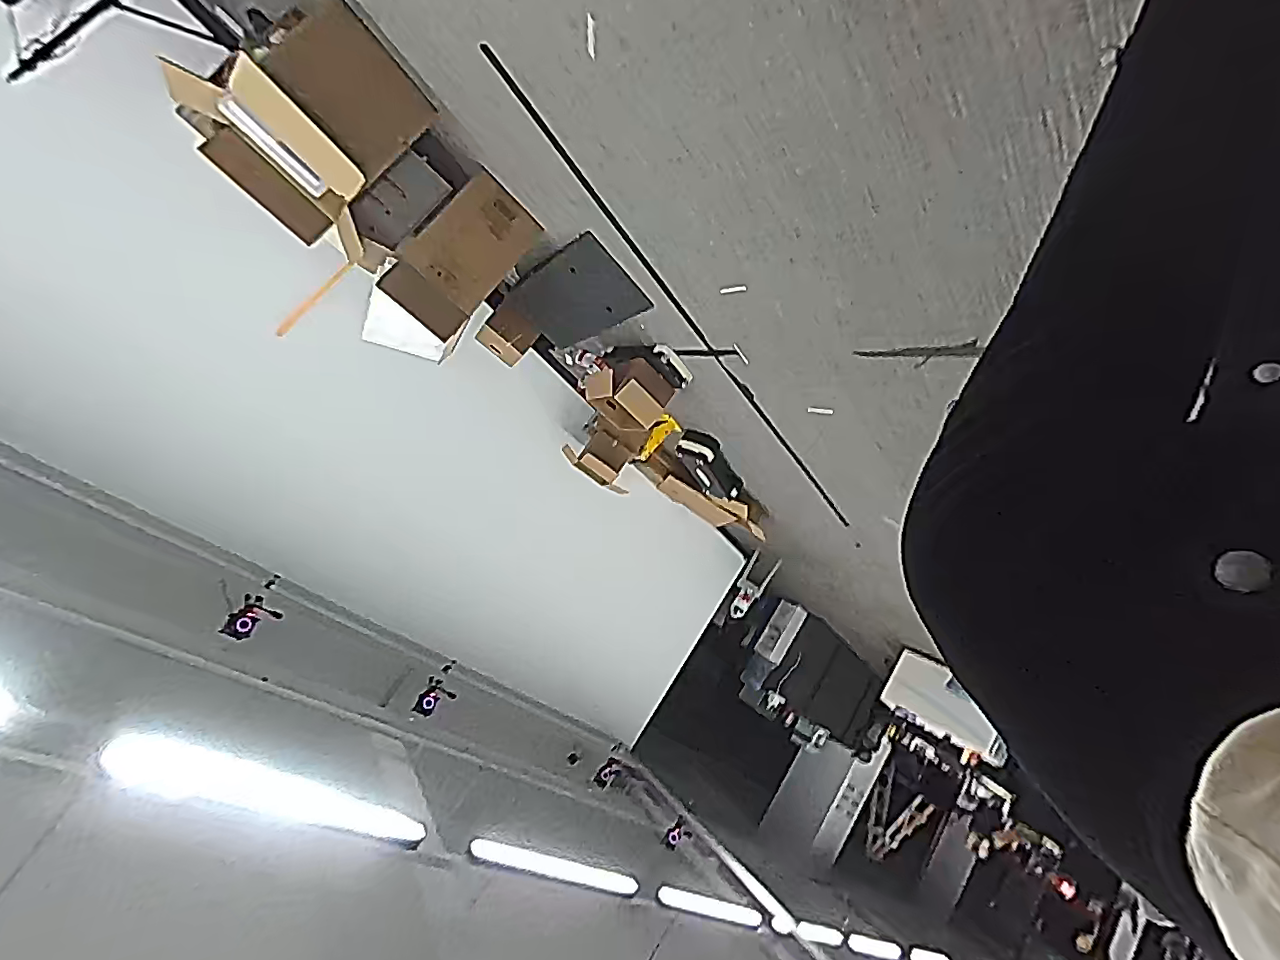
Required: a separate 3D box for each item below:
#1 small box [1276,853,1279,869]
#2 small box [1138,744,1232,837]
[{"bbox_3d":[1.873,1.018,1.461,0.179,0.176,0.168,44,165,-34],"label":"small box"},{"bbox_3d":[1.709,0.965,1.690,0.168,0.176,0.179,42,166,-33],"label":"small box"}]
